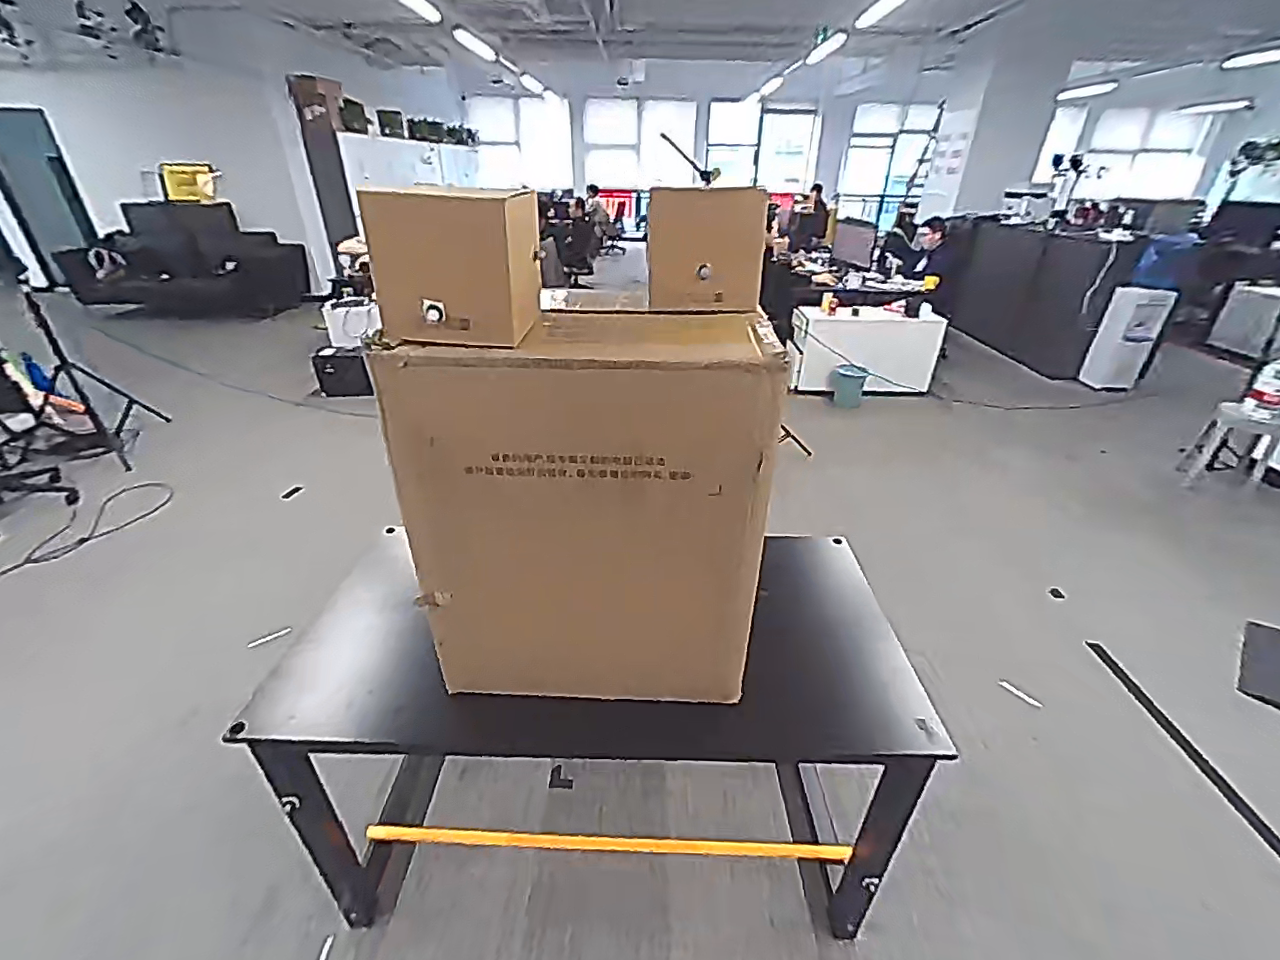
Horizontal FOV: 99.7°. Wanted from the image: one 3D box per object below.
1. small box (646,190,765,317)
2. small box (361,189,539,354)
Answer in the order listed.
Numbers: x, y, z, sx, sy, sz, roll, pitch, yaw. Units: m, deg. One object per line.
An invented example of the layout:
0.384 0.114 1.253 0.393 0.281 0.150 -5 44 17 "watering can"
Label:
0.094 -0.361 0.856 0.168 0.176 0.179 0 27 1 "small box"
-0.226 -0.273 0.699 0.168 0.176 0.179 2 31 0 "small box"
